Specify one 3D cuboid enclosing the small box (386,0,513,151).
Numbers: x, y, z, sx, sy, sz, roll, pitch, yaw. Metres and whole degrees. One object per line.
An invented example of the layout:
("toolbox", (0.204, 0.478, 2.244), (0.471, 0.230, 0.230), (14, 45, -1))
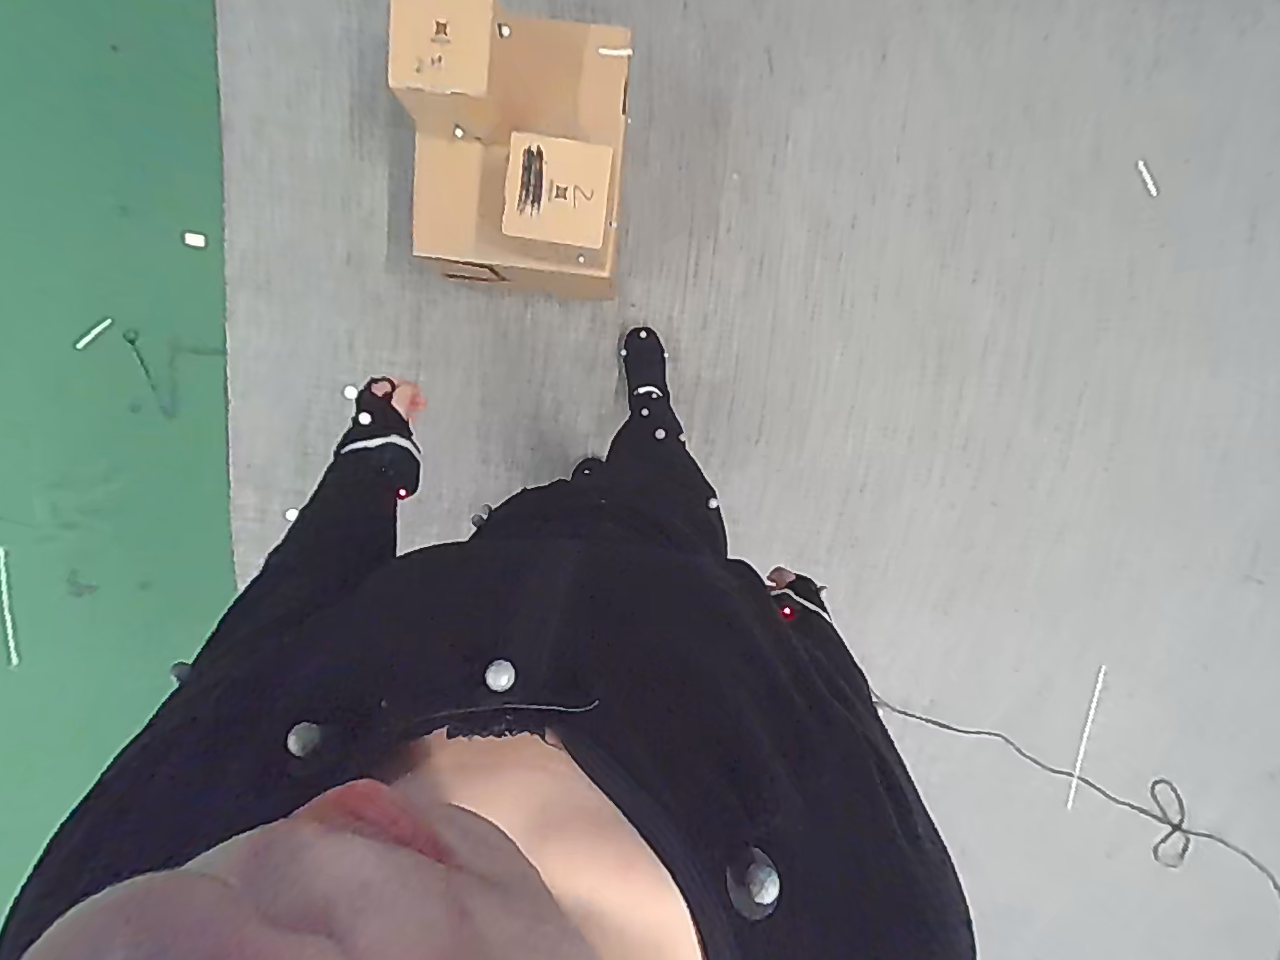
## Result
("small box", (-0.329, -0.727, 0.962), (0.168, 0.176, 0.179), (6, 96, -1))
